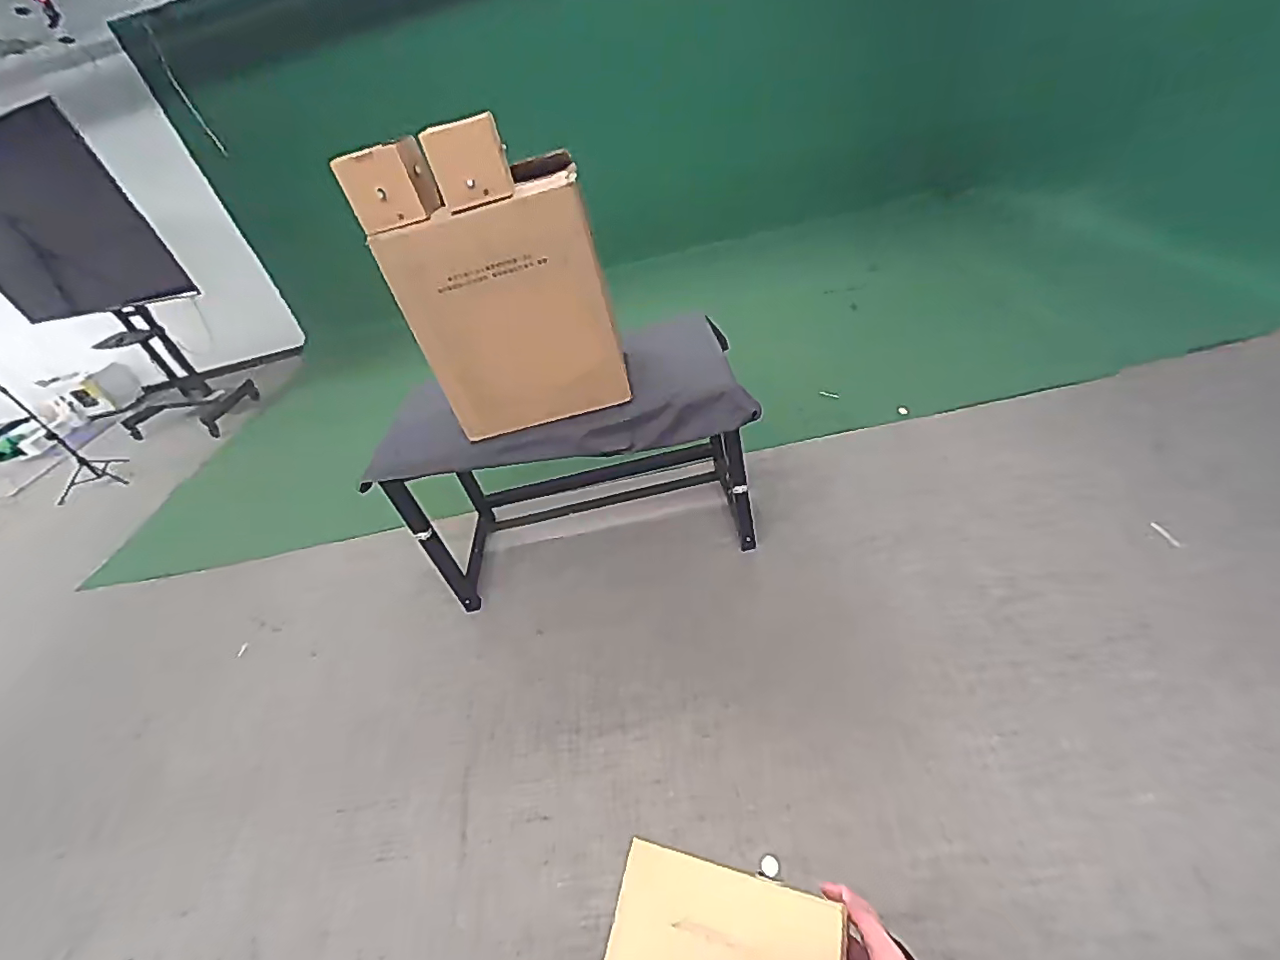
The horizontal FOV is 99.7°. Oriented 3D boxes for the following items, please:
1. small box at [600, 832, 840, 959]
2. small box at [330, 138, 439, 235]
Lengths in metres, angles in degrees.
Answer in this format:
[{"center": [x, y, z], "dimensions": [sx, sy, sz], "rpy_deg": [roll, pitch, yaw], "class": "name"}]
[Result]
[{"center": [0.069, 0.415, 0.437], "dimensions": [0.168, 0.176, 0.179], "rpy_deg": [2, 54, 23], "class": "small box"}, {"center": [-0.632, -0.737, 1.365], "dimensions": [0.168, 0.176, 0.179], "rpy_deg": [-14, 38, 4], "class": "small box"}]
